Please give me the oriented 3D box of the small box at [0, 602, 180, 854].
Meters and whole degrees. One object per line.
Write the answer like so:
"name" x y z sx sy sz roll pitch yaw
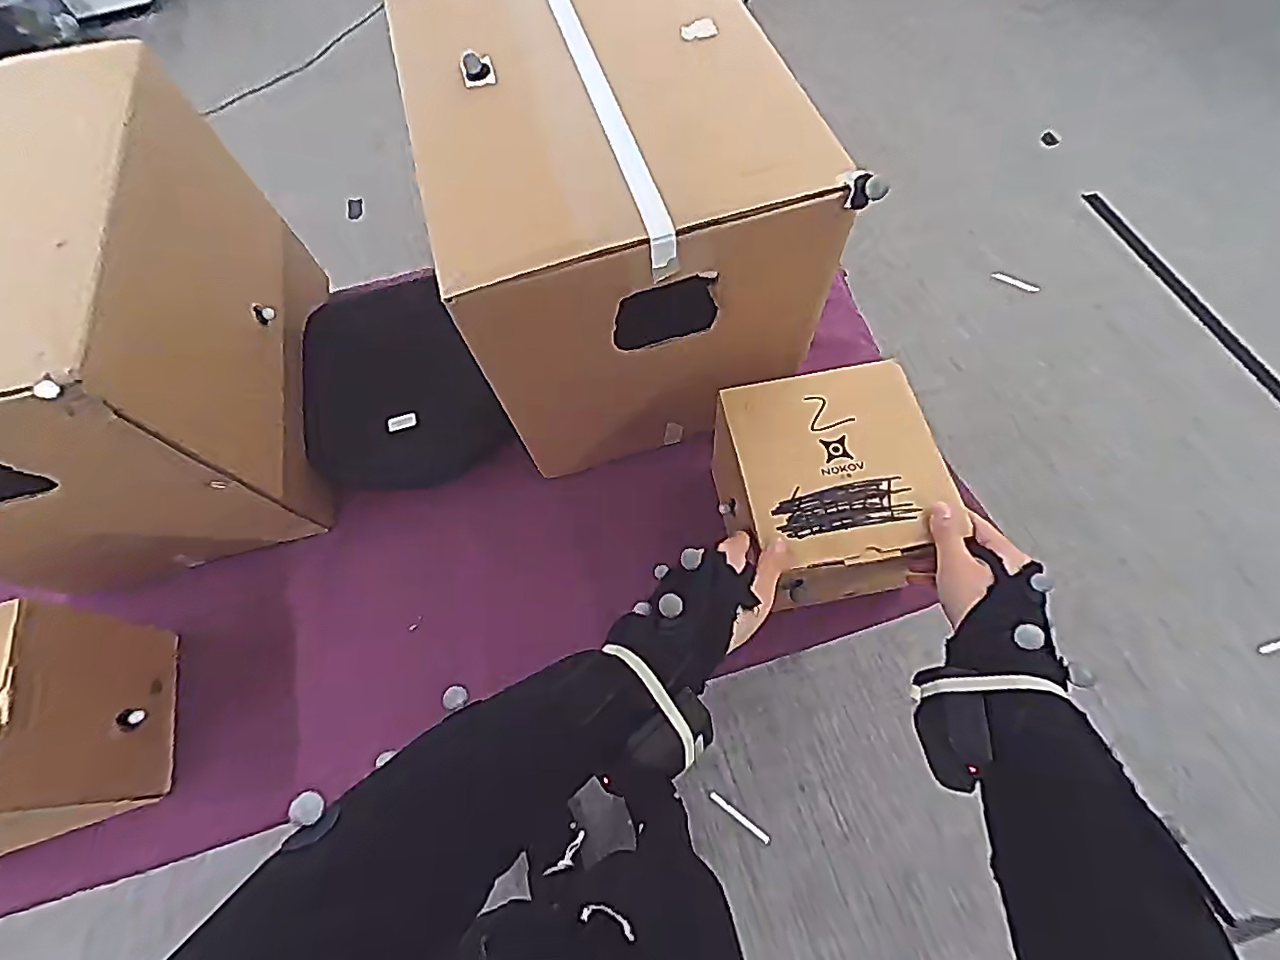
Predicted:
"small box" -0.572 0.232 0.485 0.179 0.176 0.168 -18 65 -8

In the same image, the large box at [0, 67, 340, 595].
"large box" -0.563 -0.132 0.578 0.320 0.320 0.408 -15 68 -2
